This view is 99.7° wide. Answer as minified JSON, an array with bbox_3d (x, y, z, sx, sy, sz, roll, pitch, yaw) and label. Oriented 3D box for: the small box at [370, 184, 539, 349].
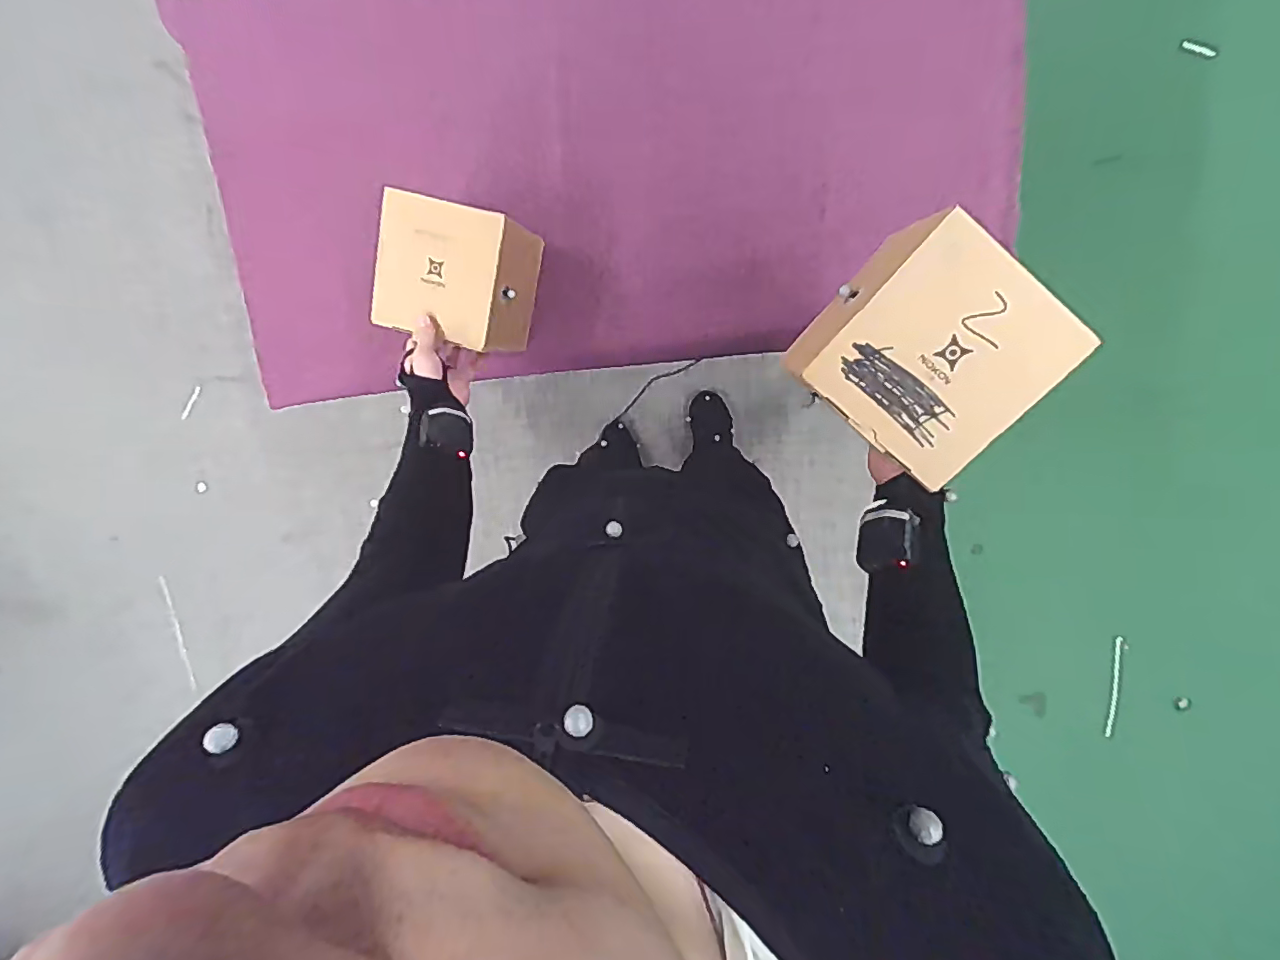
[{"bbox_3d":[-0.260,-0.296,0.786,0.168,0.176,0.179,16,105,4],"label":"small box"}]
